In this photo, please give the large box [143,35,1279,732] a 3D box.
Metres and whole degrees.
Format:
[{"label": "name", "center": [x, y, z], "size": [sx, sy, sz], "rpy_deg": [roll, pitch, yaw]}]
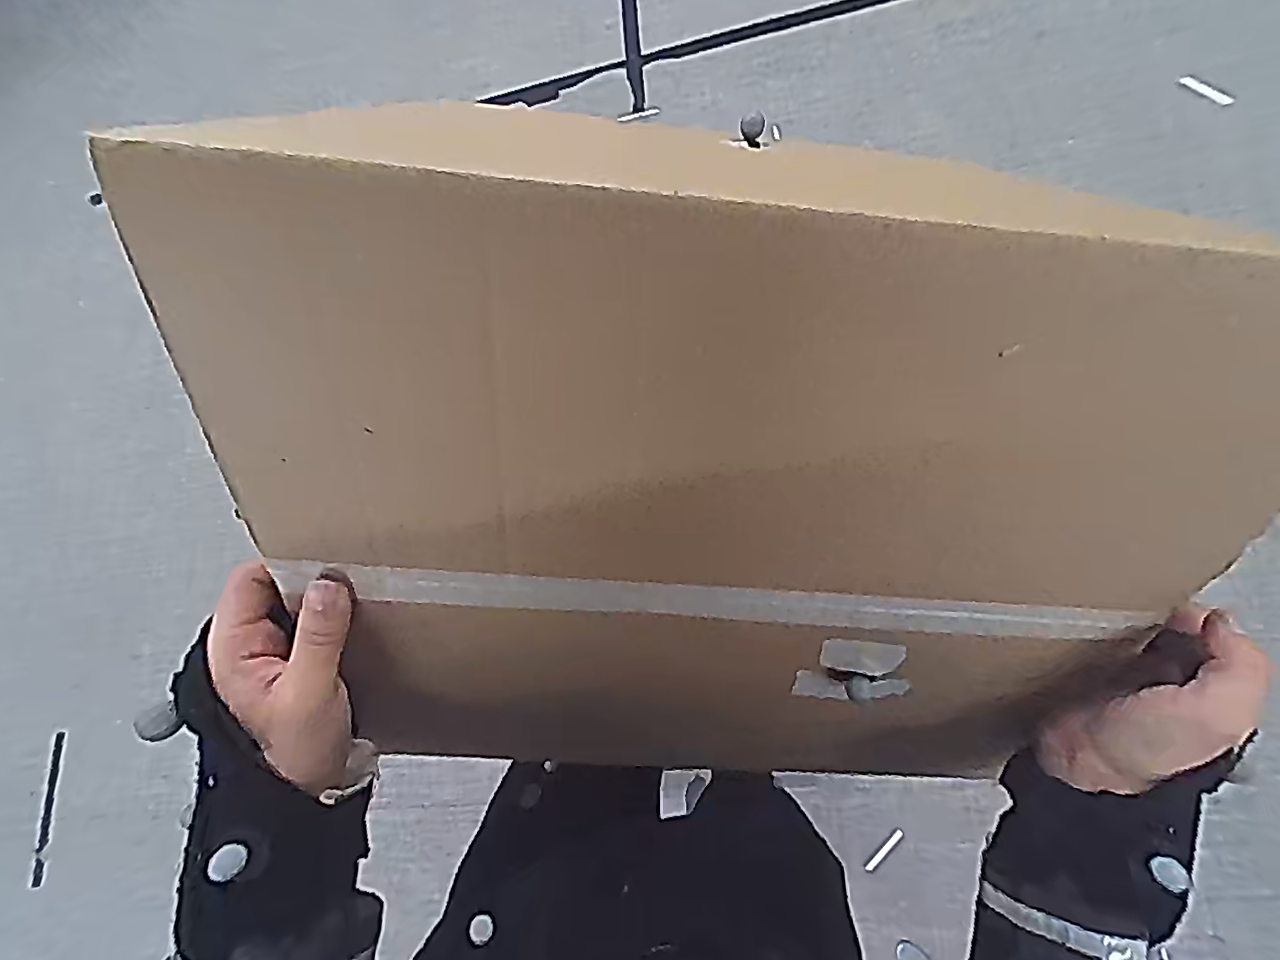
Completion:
[{"label": "large box", "center": [0.051, -0.065, 0.356], "size": [0.408, 0.320, 0.320], "rpy_deg": [3, 37, -4]}]
